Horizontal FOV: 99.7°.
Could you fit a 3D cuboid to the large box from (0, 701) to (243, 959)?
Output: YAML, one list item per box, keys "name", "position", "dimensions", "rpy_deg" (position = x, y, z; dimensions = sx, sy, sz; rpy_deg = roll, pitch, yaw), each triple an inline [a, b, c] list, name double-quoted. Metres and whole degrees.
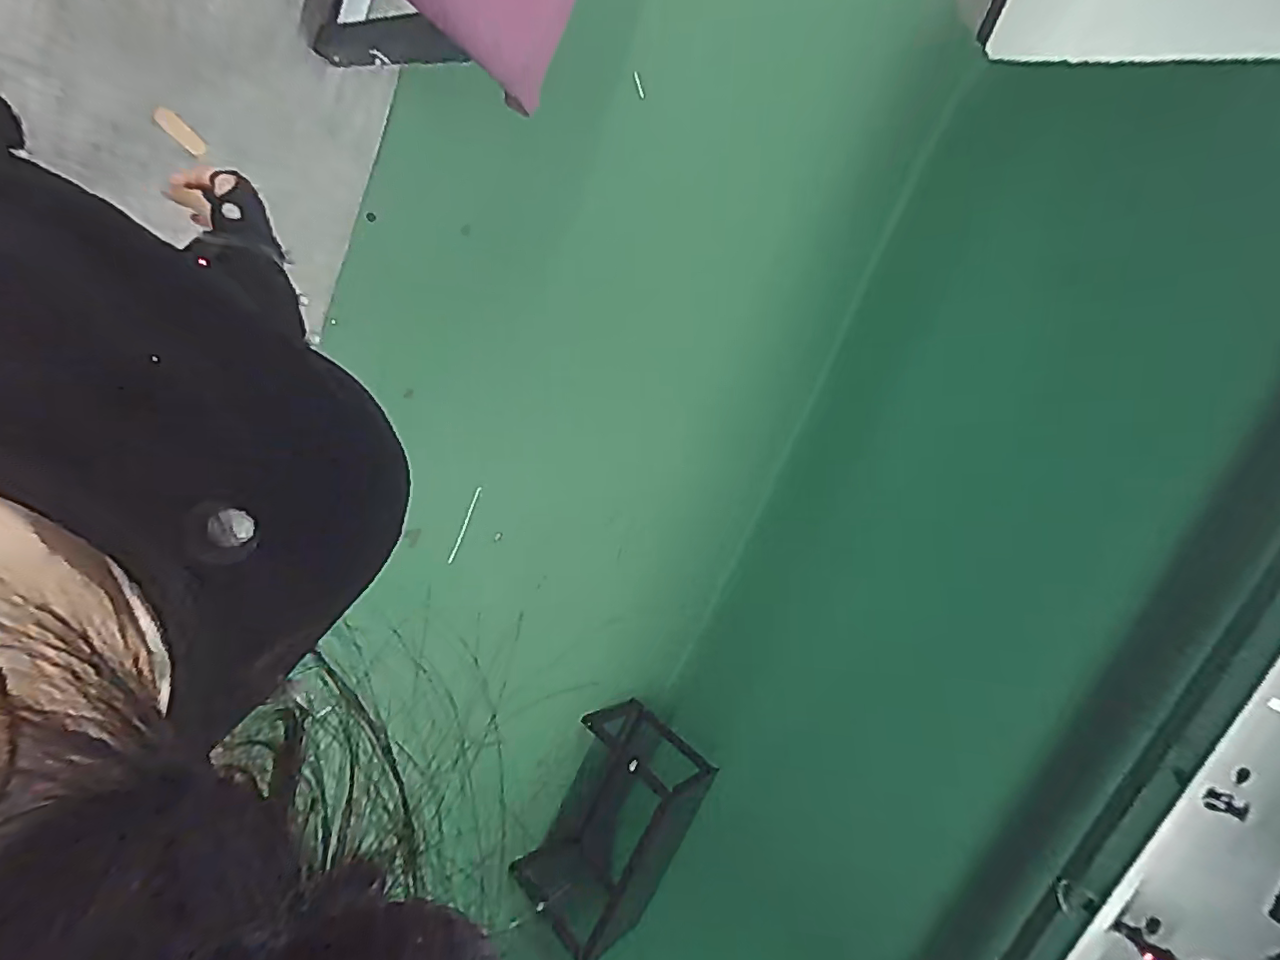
- name: "large box"
  position: [-1.317, 0.858, 1.391]
  dimensions: [0.408, 0.320, 0.320]
  rpy_deg: [-12, 124, -49]
